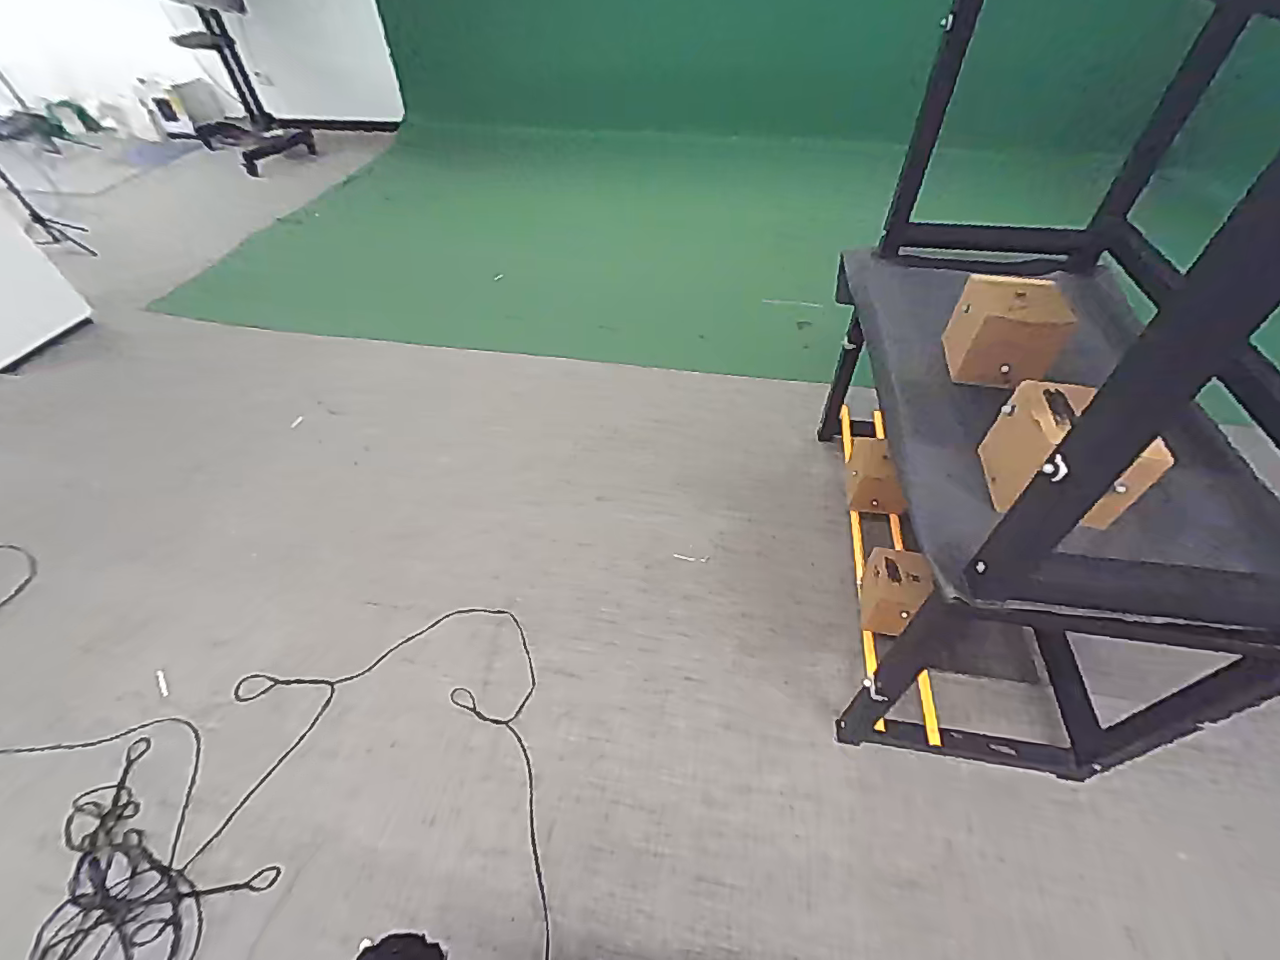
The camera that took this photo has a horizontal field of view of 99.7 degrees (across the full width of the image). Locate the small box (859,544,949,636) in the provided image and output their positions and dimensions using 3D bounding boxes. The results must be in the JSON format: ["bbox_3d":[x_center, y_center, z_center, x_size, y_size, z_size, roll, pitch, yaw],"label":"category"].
[{"bbox_3d":[0.696,0.298,1.450,0.179,0.176,0.168,9,49,10],"label":"small box"}]

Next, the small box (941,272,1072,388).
[{"bbox_3d":[0.778,-0.325,1.172,0.168,0.176,0.179,9,49,9],"label":"small box"}]
